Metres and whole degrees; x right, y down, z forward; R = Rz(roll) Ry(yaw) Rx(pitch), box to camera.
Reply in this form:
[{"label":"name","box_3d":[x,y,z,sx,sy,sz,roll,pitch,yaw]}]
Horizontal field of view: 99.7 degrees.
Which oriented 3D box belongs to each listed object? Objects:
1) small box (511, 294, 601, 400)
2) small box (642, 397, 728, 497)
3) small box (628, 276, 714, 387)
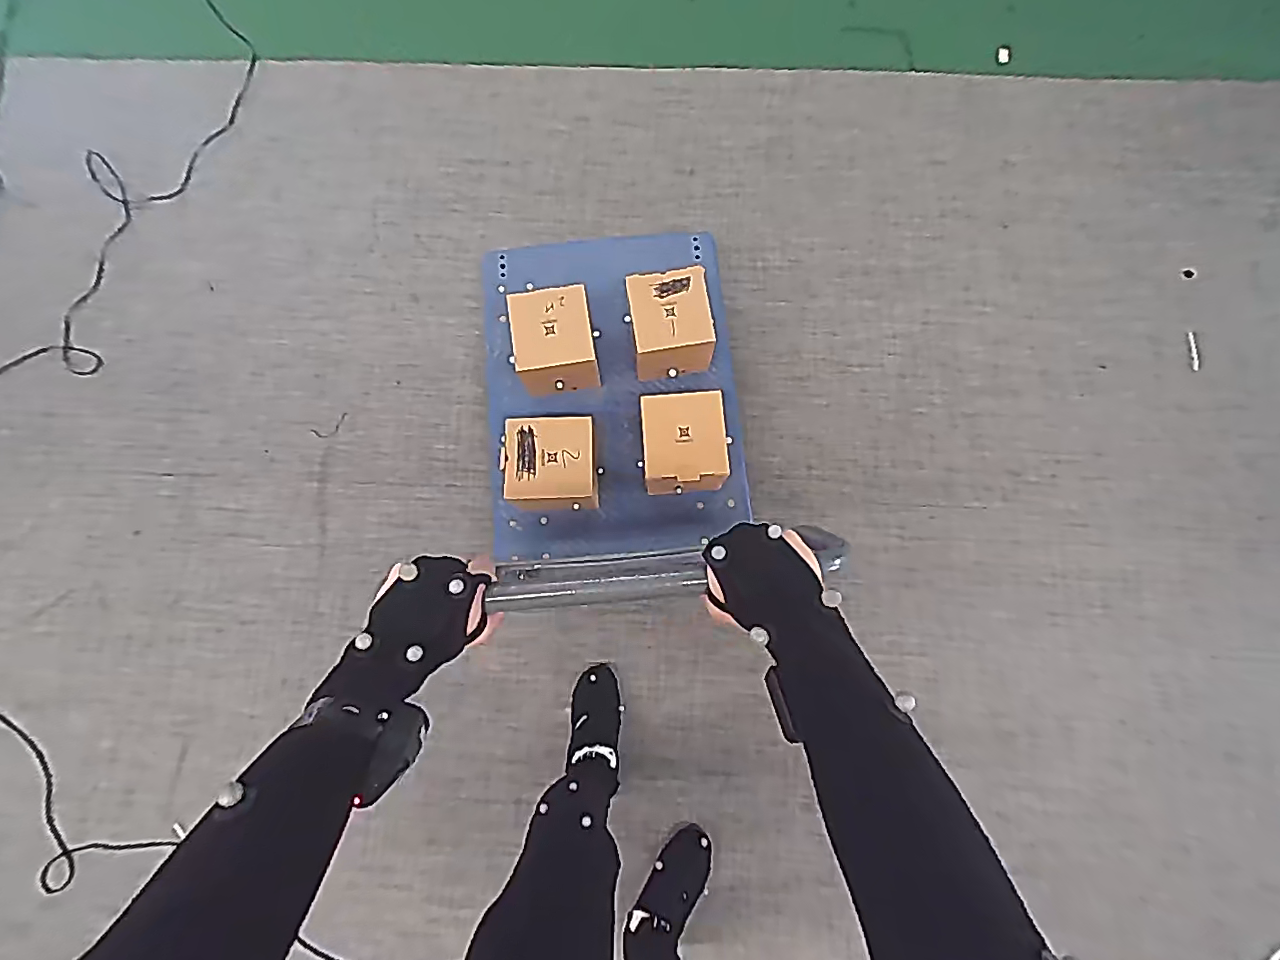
[{"label":"small box","box_3d":[-0.184,-0.290,1.219,0.168,0.176,0.179,-9,79,-2]},{"label":"small box","box_3d":[0.090,-0.066,1.171,0.168,0.176,0.179,-4,79,0]},{"label":"small box","box_3d":[0.065,-0.330,1.223,0.168,0.176,0.179,-9,80,0]}]
